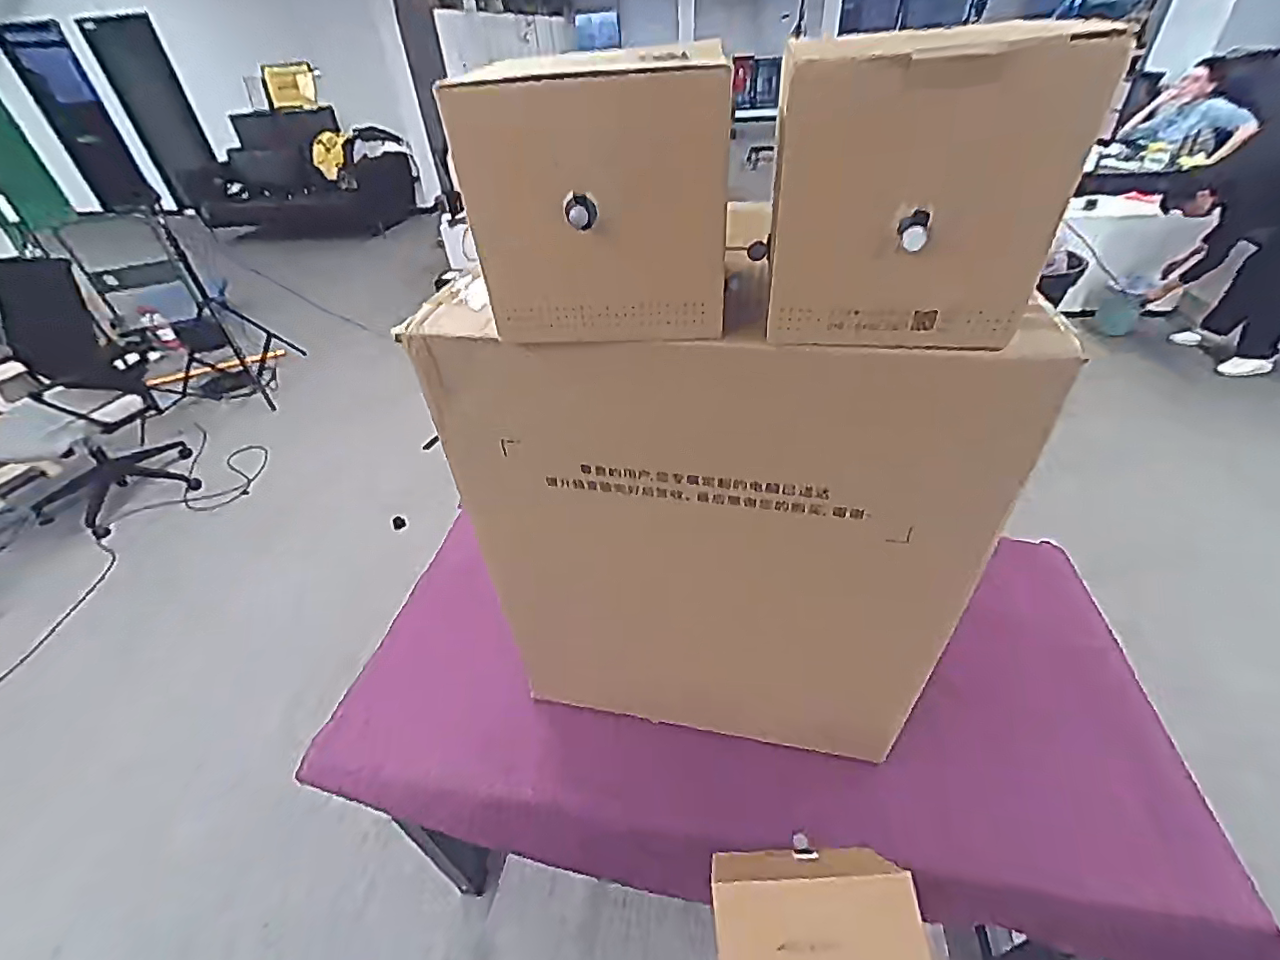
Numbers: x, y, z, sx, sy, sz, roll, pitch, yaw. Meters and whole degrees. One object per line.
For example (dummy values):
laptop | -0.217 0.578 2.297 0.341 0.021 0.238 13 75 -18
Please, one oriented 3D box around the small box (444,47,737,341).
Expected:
small box | -0.020 -0.222 0.425 0.179 0.176 0.168 0 41 7

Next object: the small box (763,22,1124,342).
small box | 0.182 -0.214 0.395 0.168 0.176 0.179 4 42 10

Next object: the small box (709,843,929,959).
small box | 0.153 0.438 0.479 0.168 0.176 0.179 -6 60 4
